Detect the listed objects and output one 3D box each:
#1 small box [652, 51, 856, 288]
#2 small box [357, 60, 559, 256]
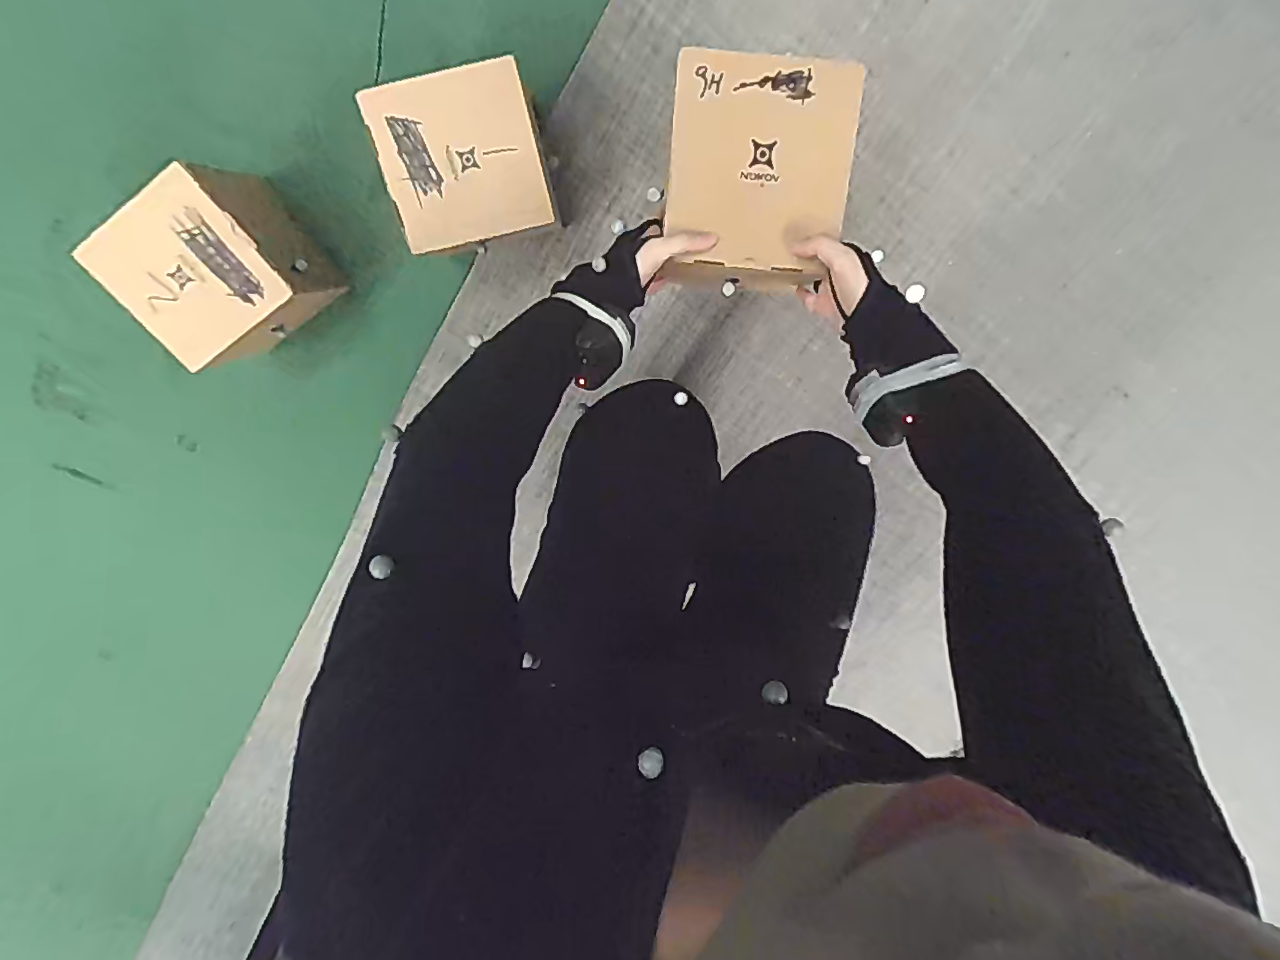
[{"bbox_3d":[0.103,-0.304,0.571,0.168,0.176,0.179,5,104,-1],"label":"small box"},{"bbox_3d":[-0.208,-0.383,0.675,0.179,0.176,0.168,-13,113,0],"label":"small box"}]
